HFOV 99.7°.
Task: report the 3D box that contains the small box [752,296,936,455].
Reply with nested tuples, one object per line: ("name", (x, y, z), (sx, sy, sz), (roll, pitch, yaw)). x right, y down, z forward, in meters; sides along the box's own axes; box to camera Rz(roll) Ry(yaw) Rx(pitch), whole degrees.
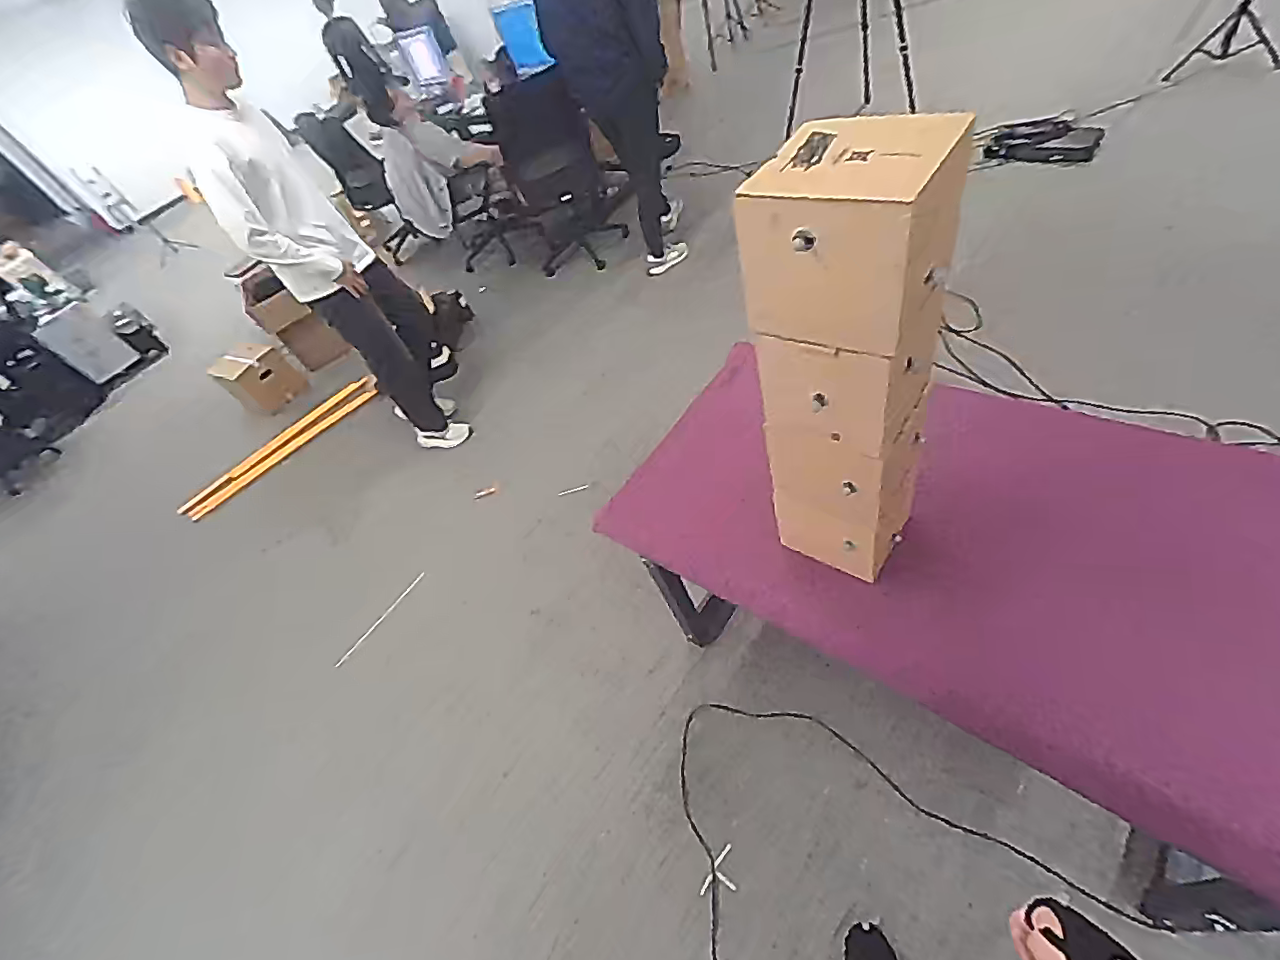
("small box", (0.270, -0.161, 0.708), (0.168, 0.176, 0.179), (23, 63, 33))

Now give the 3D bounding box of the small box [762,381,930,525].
("small box", (0.312, -0.055, 0.825), (0.179, 0.176, 0.168), (23, 63, 35))

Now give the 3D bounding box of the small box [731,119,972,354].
("small box", (0.223, -0.260, 0.585), (0.179, 0.176, 0.168), (23, 62, 33))
